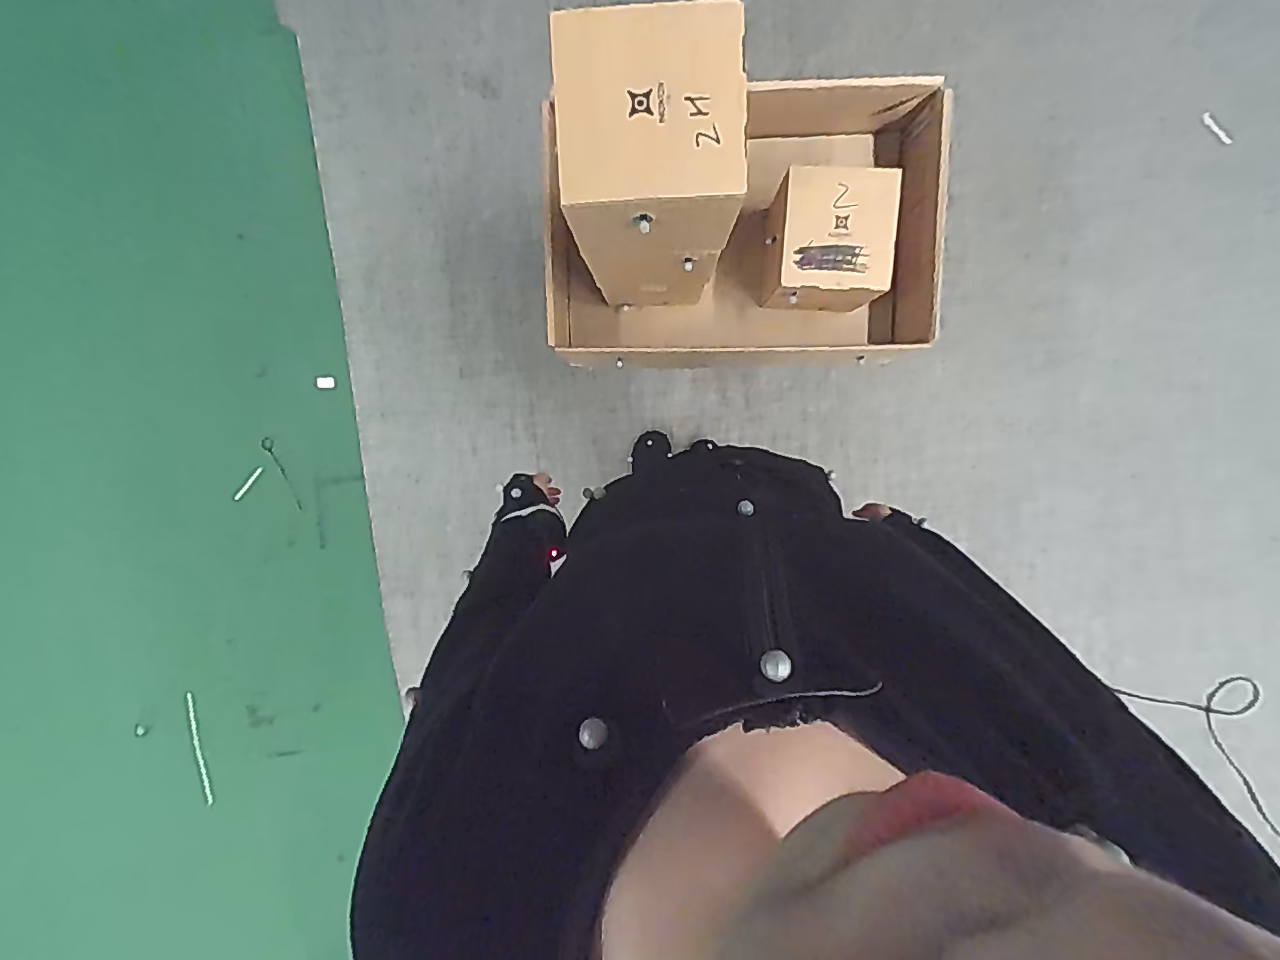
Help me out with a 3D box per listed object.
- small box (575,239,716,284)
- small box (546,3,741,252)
[{"bbox_3d":[0.007,-0.370,0.732,0.179,0.176,0.168,-1,97,0],"label":"small box"},{"bbox_3d":[0.006,-0.348,0.569,0.179,0.176,0.168,-2,97,1],"label":"small box"}]
